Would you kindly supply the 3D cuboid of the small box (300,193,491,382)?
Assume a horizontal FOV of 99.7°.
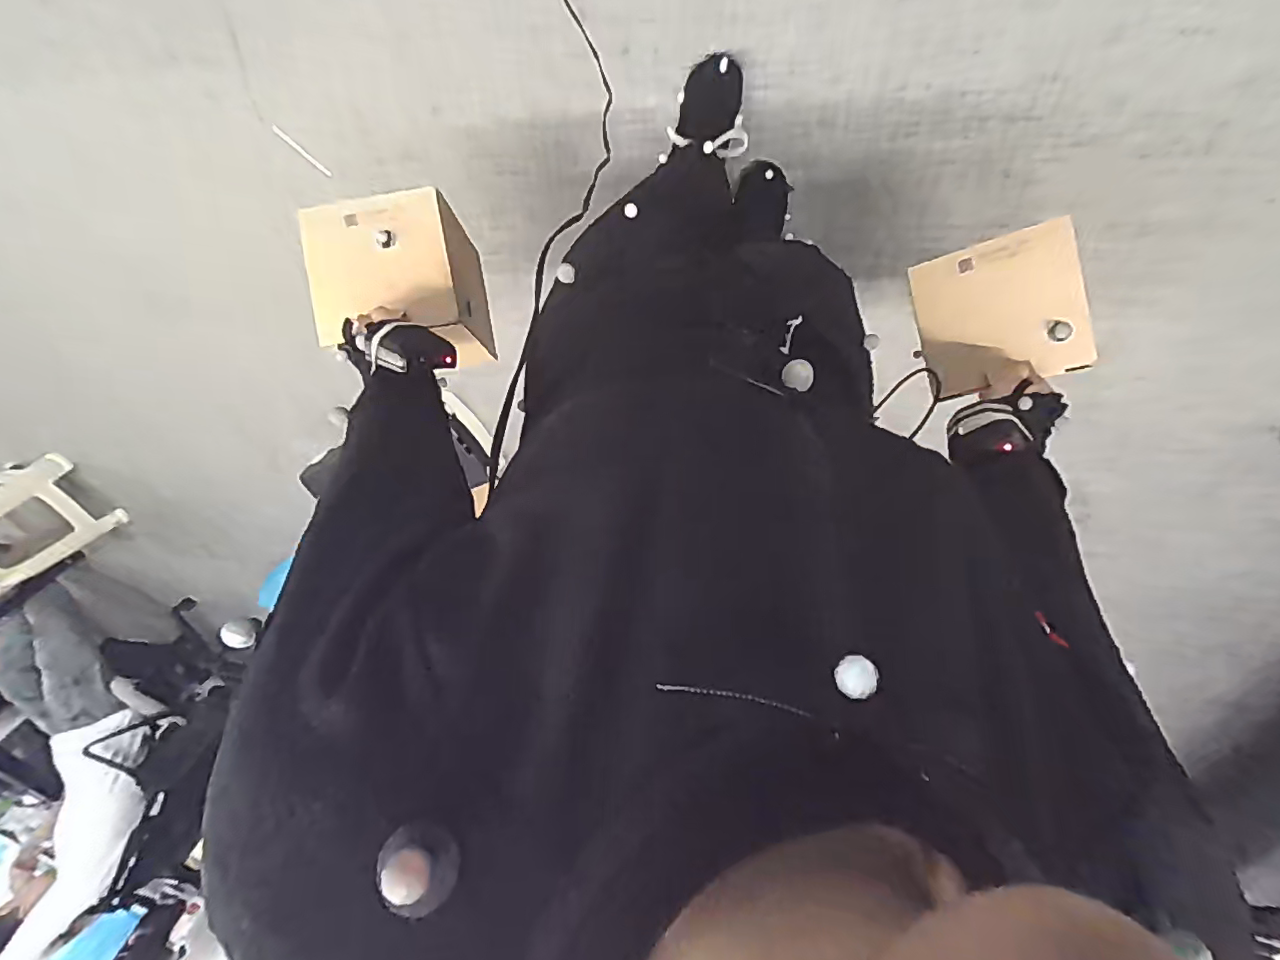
[{"bbox_3d":[-0.308,-0.241,0.709,0.168,0.179,0.176,-11,87,-1],"label":"small box"}]
